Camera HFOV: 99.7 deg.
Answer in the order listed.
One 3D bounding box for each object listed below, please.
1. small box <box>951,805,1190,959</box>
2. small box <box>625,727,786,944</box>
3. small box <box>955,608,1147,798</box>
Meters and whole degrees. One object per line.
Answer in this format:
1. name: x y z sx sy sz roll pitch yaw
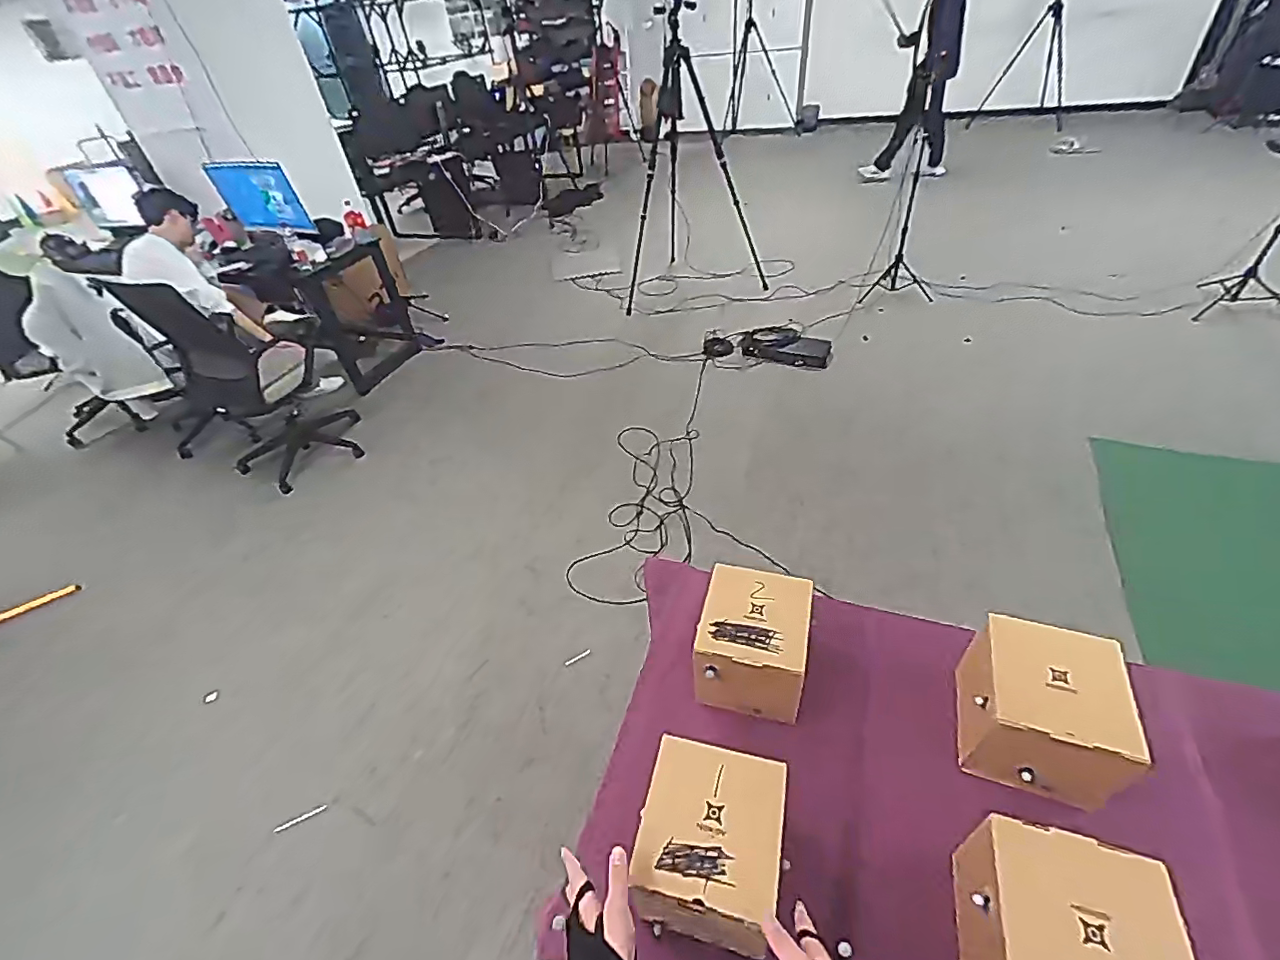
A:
1. small box: 0.461 0.507 0.600 0.168 0.176 0.179 9 44 18
2. small box: 0.091 0.459 0.700 0.168 0.176 0.179 8 42 15
3. small box: 0.576 0.323 0.789 0.168 0.176 0.179 11 46 19
